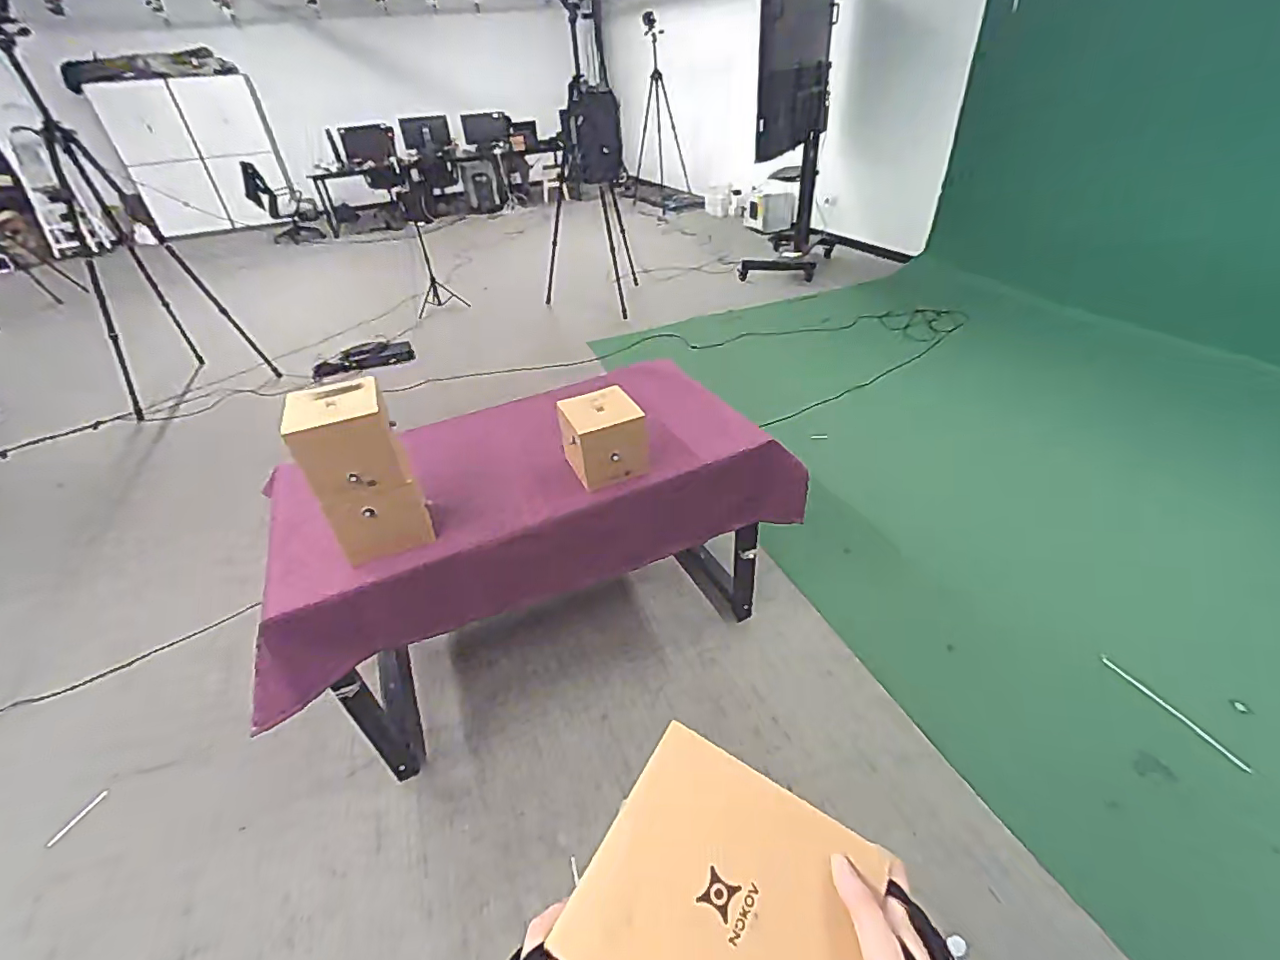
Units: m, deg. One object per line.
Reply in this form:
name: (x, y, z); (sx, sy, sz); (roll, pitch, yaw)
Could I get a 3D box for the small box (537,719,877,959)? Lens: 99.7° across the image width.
small box: (0.049, 0.329, 0.415); (0.179, 0.176, 0.168); (24, 51, 22)

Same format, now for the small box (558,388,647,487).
small box: (-0.089, -0.099, 1.331); (0.168, 0.176, 0.179); (-18, 39, -17)

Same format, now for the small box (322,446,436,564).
small box: (-0.566, 0.056, 1.180); (0.179, 0.176, 0.168); (-18, 39, -18)
